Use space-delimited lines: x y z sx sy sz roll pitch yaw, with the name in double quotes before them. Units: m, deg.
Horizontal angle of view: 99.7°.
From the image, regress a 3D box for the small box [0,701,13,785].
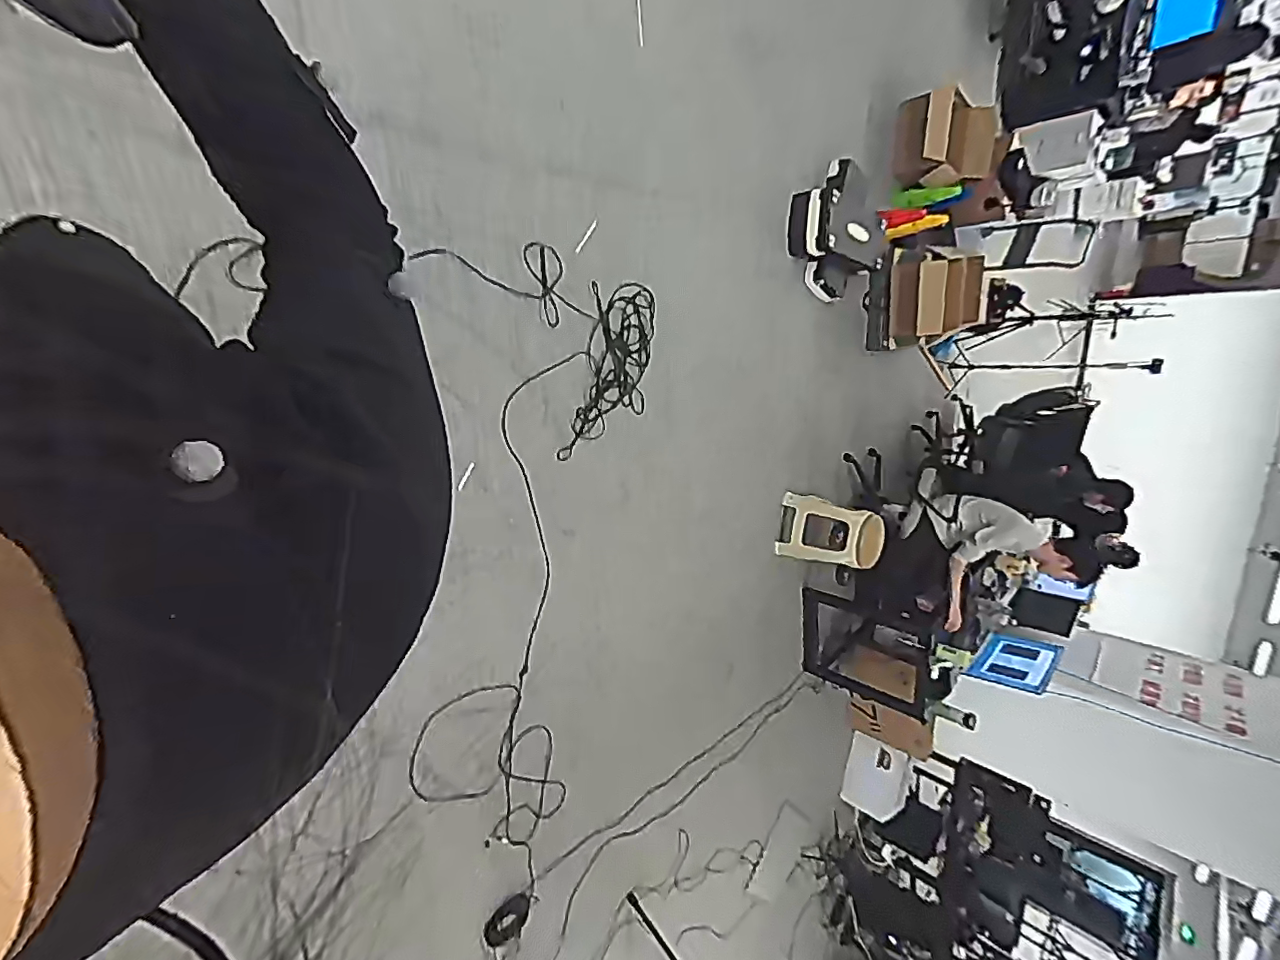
"small box" -1.205 0.442 0.906 0.168 0.176 0.179 -16 108 -42
